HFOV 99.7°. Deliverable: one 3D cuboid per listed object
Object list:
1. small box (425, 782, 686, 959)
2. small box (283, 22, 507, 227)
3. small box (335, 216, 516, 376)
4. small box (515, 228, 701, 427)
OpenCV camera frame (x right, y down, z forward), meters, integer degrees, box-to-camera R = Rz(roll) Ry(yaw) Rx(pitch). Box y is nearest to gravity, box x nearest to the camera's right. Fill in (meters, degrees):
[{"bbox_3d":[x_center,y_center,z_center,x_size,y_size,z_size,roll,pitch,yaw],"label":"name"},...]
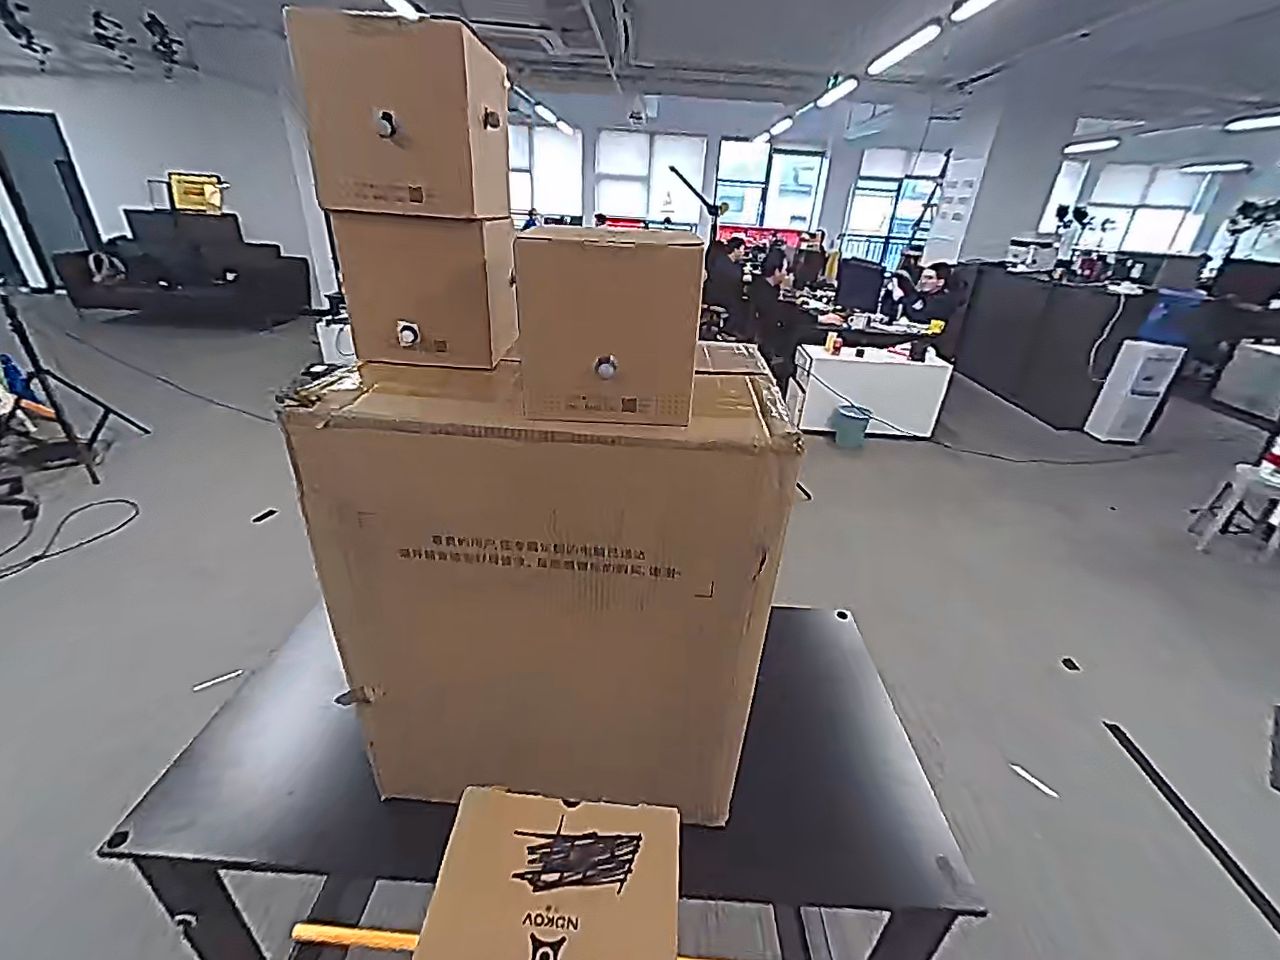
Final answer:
[{"bbox_3d":[-0.056,0.357,0.397,0.168,0.176,0.179,4,36,1],"label":"small box"},{"bbox_3d":[-0.250,-0.381,0.607,0.168,0.176,0.179,3,27,-2],"label":"small box"},{"bbox_3d":[-0.256,-0.242,0.695,0.168,0.176,0.179,1,28,-3],"label":"small box"},{"bbox_3d":[-0.029,-0.167,0.575,0.168,0.176,0.179,2,28,0],"label":"small box"}]
